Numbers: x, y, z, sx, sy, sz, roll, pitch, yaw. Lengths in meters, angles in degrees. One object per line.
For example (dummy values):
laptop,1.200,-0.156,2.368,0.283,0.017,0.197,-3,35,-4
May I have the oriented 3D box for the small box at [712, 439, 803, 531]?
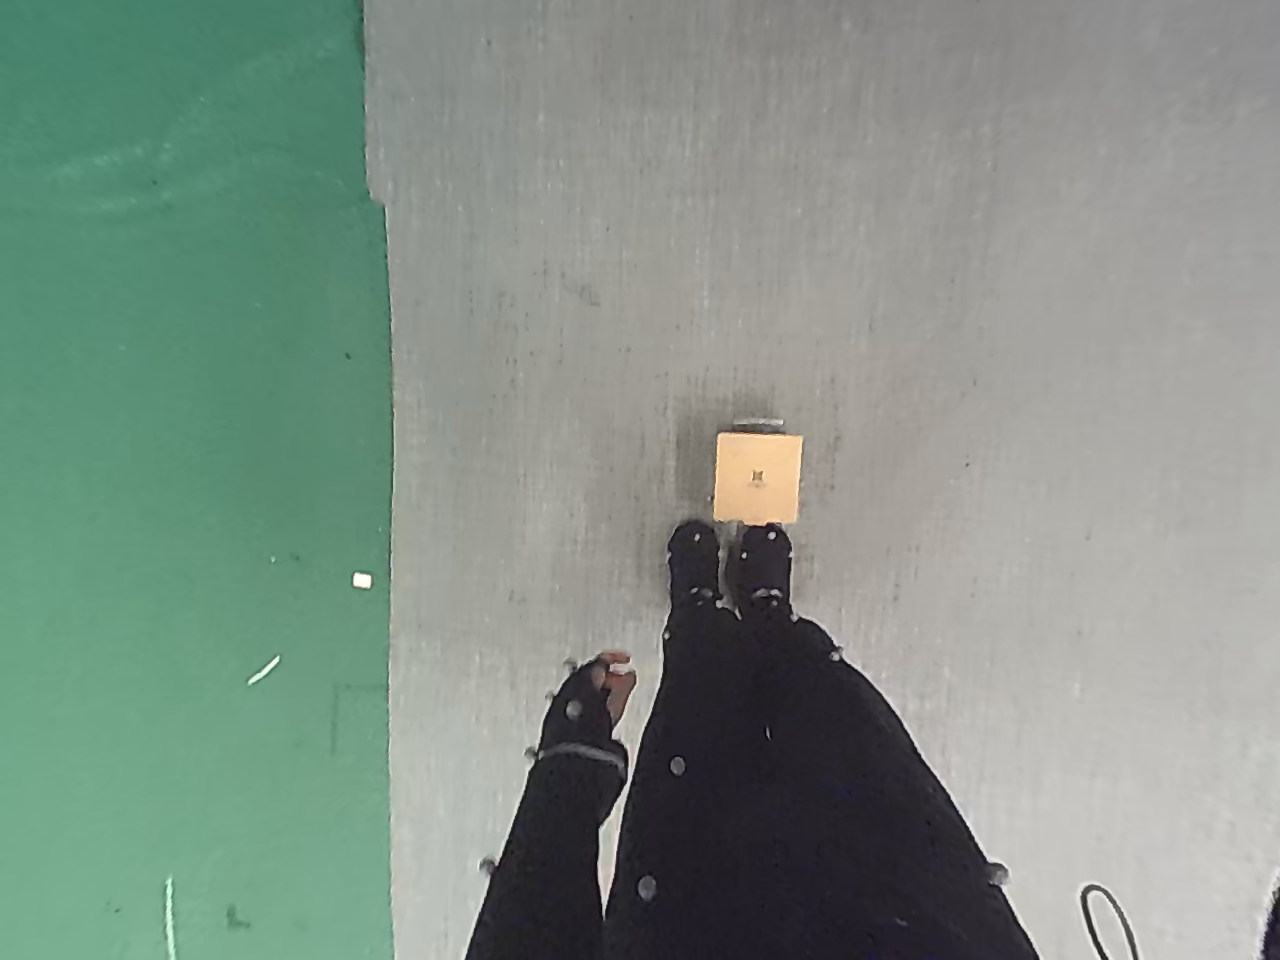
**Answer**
small box,0.243,0.003,1.153,0.168,0.176,0.179,4,95,6
